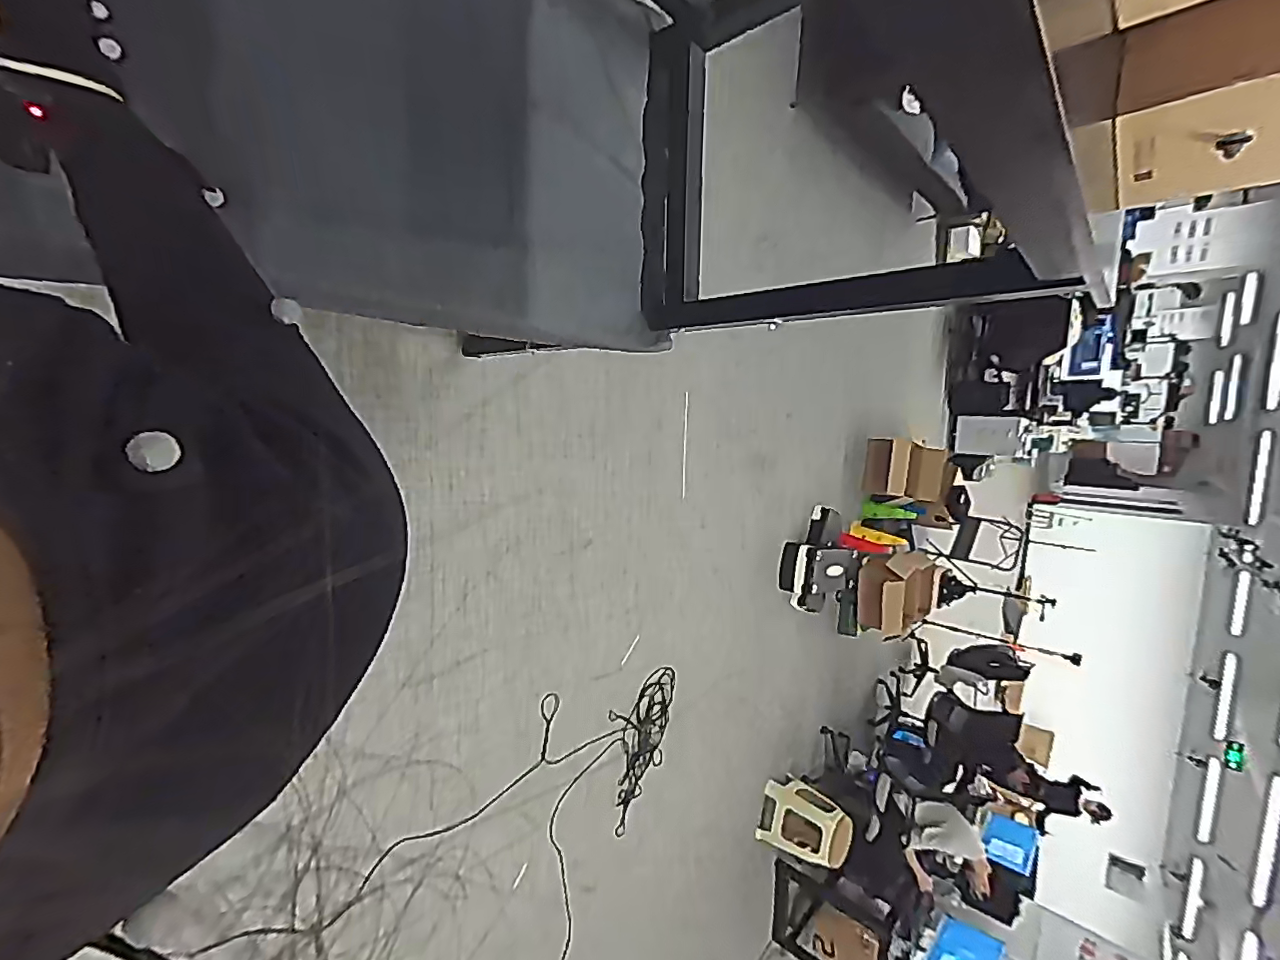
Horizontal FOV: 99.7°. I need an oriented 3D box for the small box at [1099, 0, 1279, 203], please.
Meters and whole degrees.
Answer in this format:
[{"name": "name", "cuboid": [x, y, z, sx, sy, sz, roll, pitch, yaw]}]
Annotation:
[{"name": "small box", "cuboid": [0.531, -0.383, 0.486, 0.168, 0.176, 0.179, 11, 87, -48]}]
